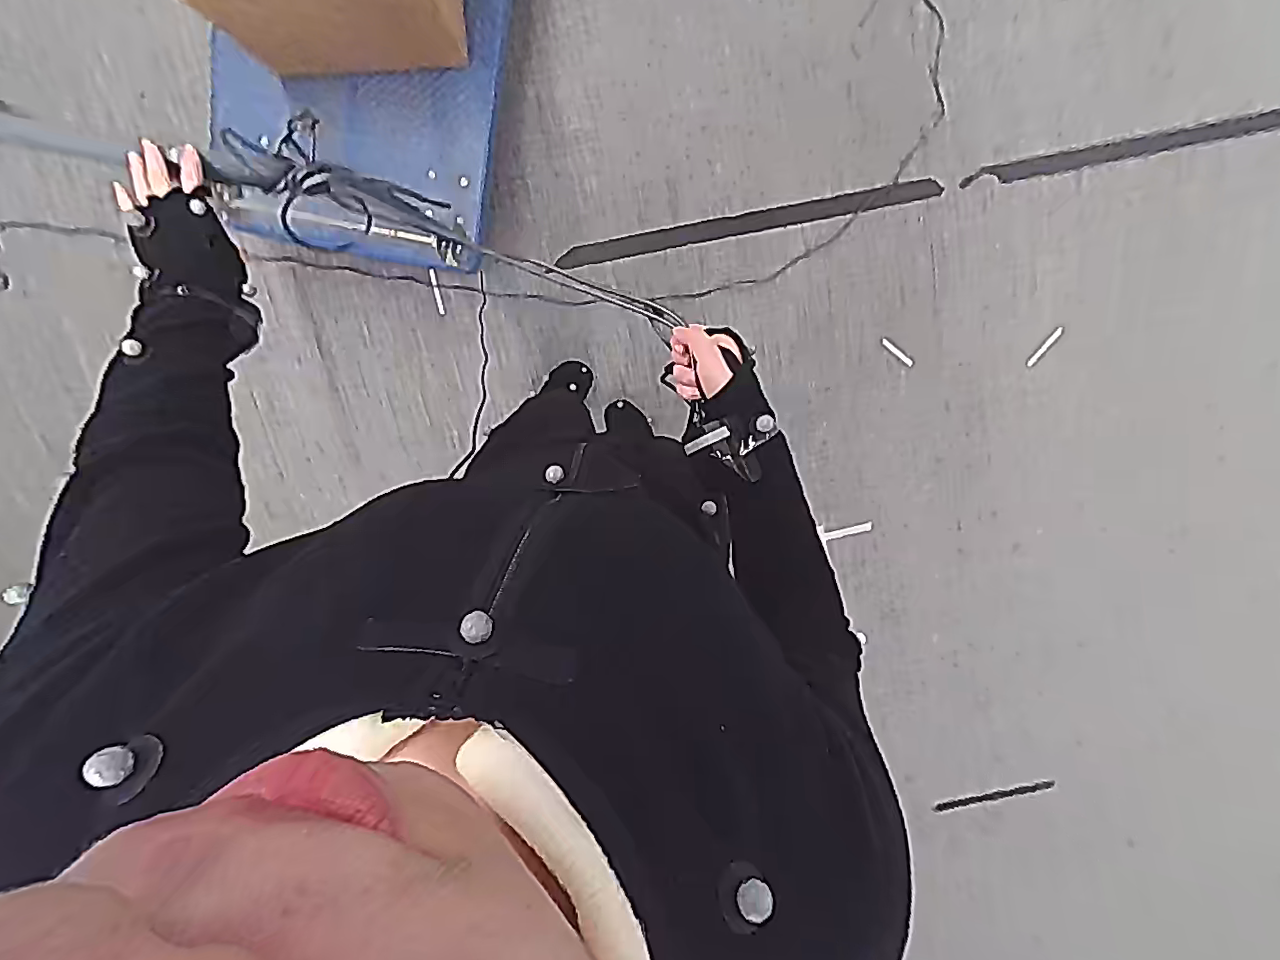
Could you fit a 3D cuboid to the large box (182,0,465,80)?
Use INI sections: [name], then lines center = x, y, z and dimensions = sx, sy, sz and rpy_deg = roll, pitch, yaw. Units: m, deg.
[large box]
center = -0.563, -0.957, 0.939
dimensions = 0.408, 0.320, 0.320
rpy_deg = -5, 103, -1
